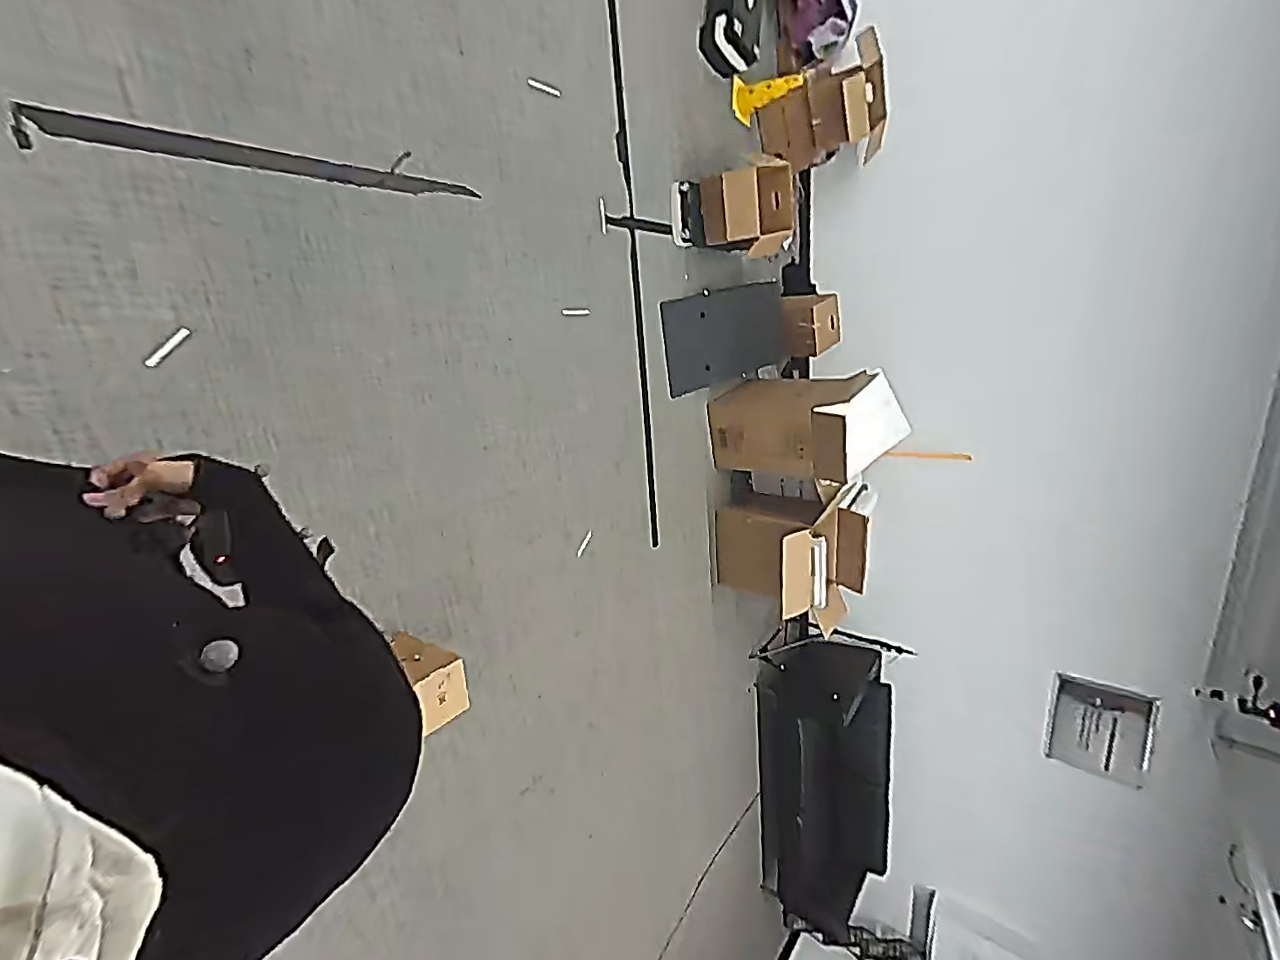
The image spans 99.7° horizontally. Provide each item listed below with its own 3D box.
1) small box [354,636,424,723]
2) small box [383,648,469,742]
[{"bbox_3d":[-0.773,0.622,1.707,0.168,0.176,0.179,-21,112,-50],"label":"small box"},{"bbox_3d":[-0.639,0.632,1.613,0.168,0.176,0.179,-21,112,-50],"label":"small box"}]
